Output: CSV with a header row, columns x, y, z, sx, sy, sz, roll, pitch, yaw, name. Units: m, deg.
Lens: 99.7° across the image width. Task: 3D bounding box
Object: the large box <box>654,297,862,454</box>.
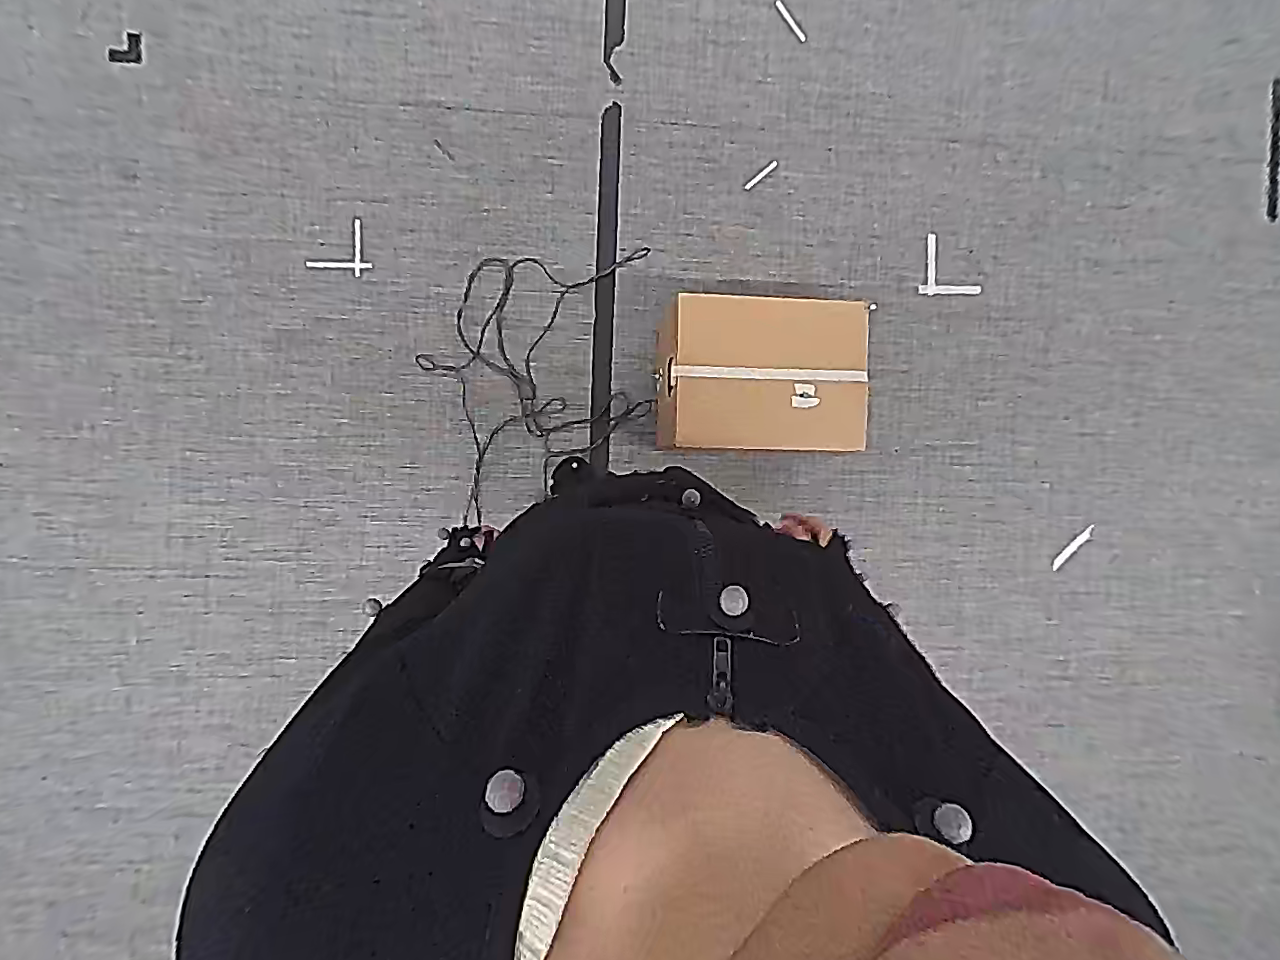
x,y,z,sx,sy,sz,roll,pitch,yaw,name
0.250,-0.220,1.261,0.408,0.320,0.320,0,92,-6,large box
